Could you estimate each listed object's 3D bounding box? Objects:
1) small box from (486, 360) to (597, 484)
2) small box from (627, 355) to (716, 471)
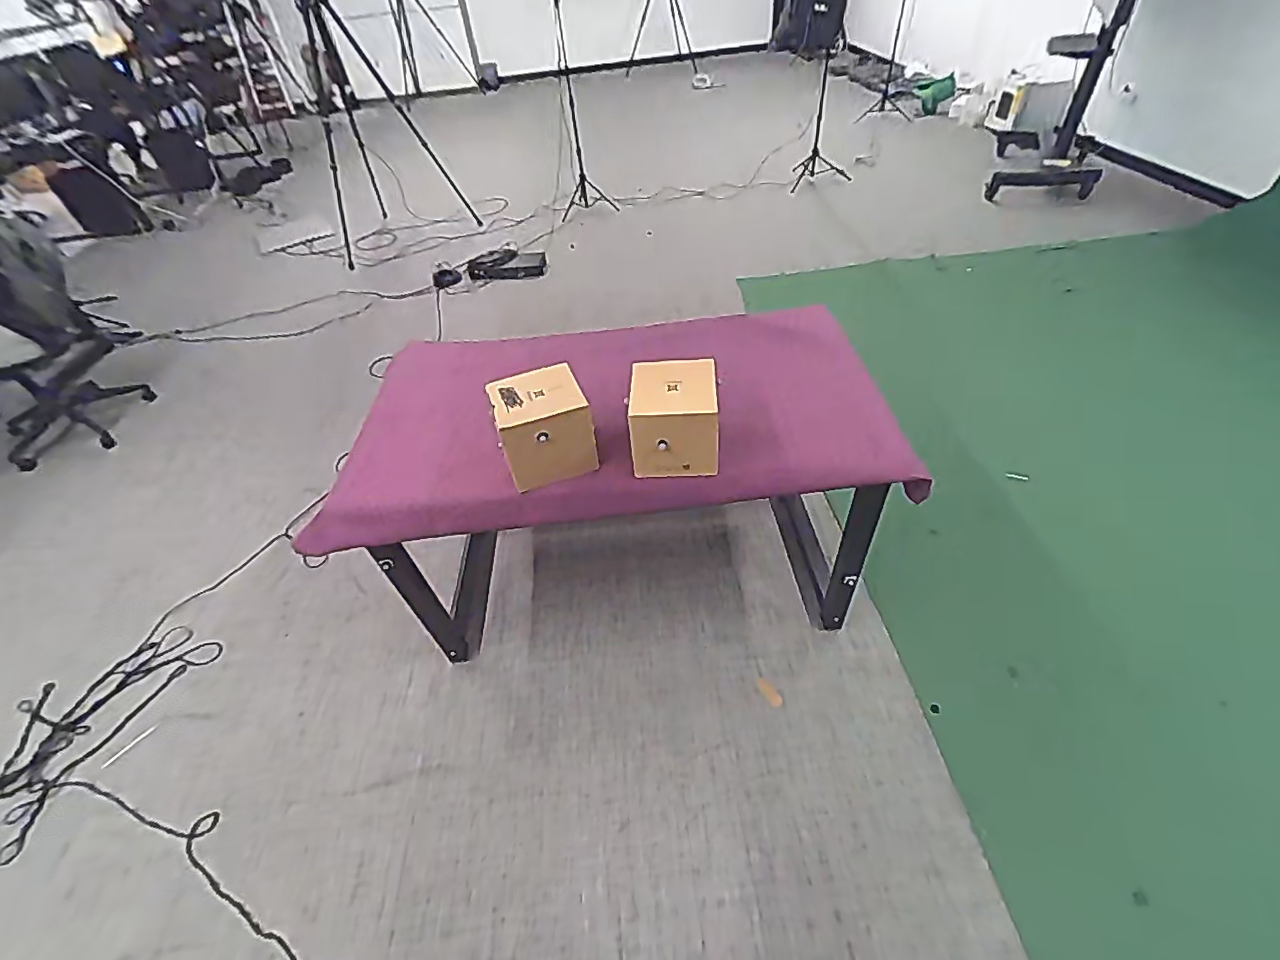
[{"bbox_3d":[-0.199,-0.117,1.110,0.179,0.176,0.168,-17,45,-11],"label":"small box"},{"bbox_3d":[0.069,-0.129,1.094,0.168,0.176,0.179,-2,45,5],"label":"small box"}]
